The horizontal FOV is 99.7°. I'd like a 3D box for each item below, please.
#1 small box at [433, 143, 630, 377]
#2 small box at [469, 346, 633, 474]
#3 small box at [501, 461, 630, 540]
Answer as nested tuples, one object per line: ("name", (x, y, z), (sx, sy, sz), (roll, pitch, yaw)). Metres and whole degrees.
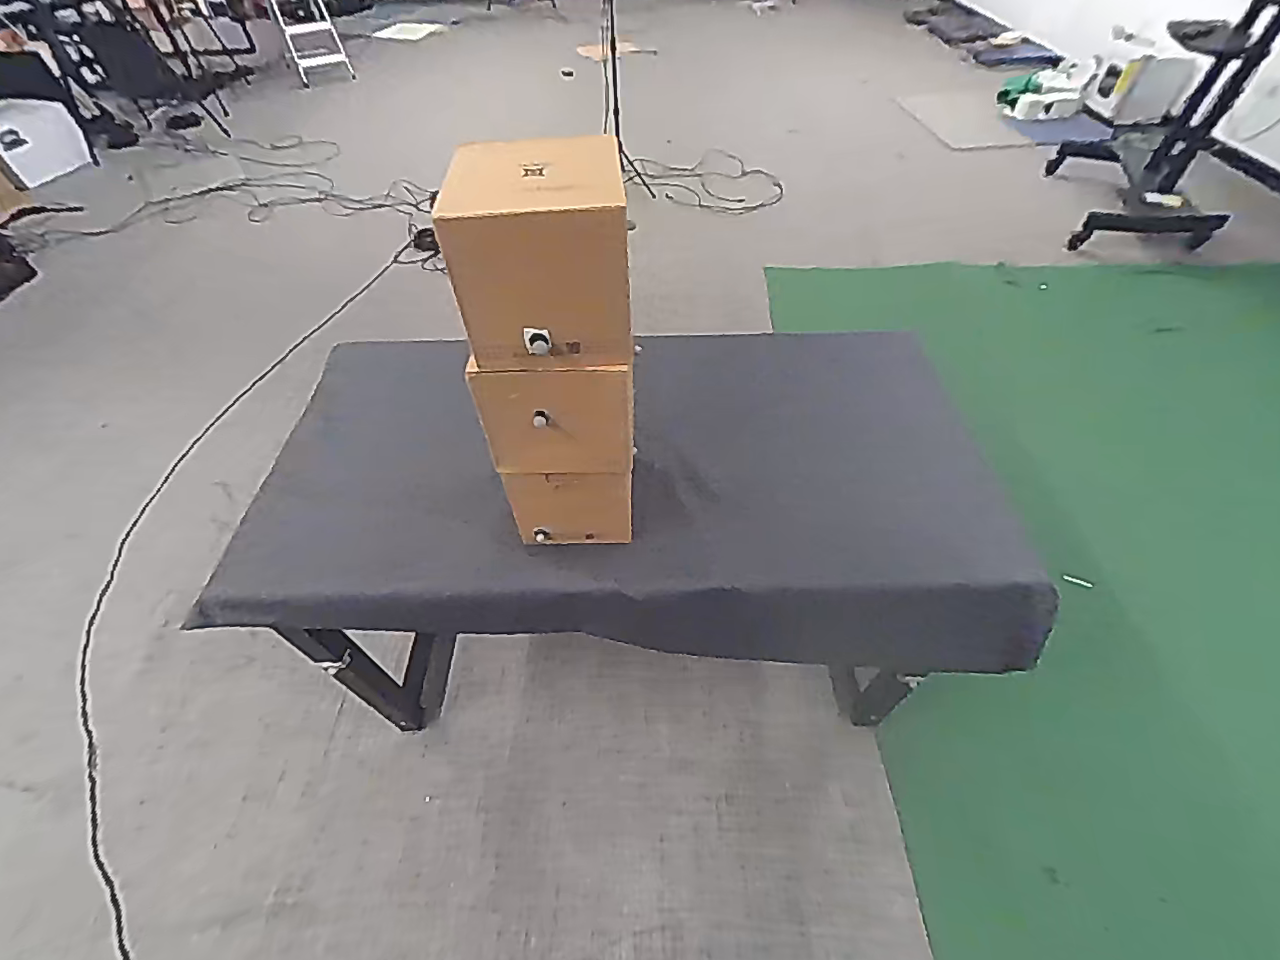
("small box", (-0.100, -0.232, 0.575), (0.168, 0.176, 0.179), (-6, 50, -2))
("small box", (-0.101, -0.121, 0.697), (0.179, 0.176, 0.168), (-3, 48, -1))
("small box", (-0.100, -0.020, 0.822), (0.168, 0.176, 0.179), (-1, 48, 1))
